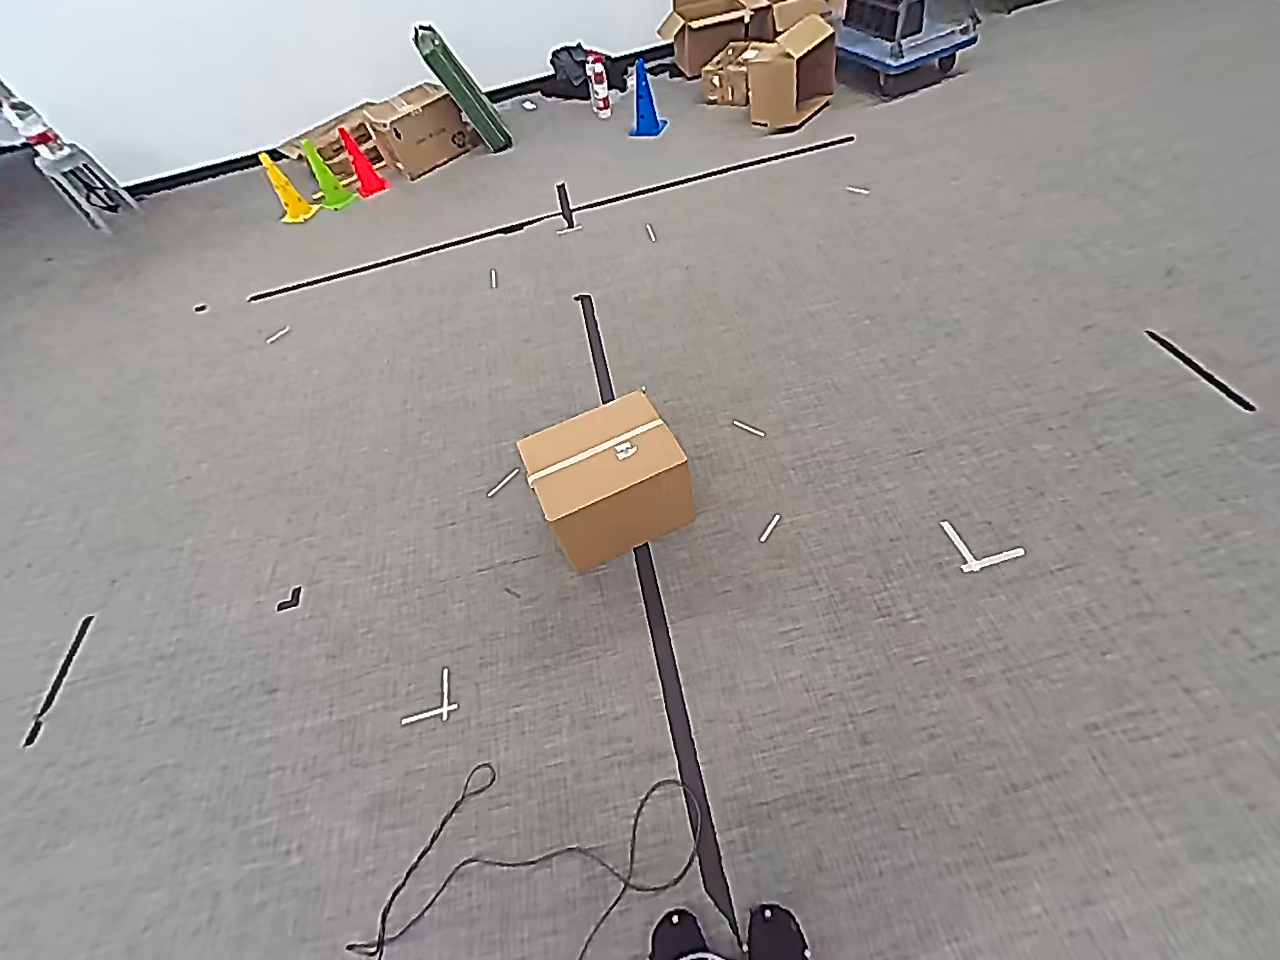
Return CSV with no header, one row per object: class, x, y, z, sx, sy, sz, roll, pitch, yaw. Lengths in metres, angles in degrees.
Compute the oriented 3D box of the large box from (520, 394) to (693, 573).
large box,-0.091,0.014,1.615,0.408,0.320,0.320,-23,54,-8
